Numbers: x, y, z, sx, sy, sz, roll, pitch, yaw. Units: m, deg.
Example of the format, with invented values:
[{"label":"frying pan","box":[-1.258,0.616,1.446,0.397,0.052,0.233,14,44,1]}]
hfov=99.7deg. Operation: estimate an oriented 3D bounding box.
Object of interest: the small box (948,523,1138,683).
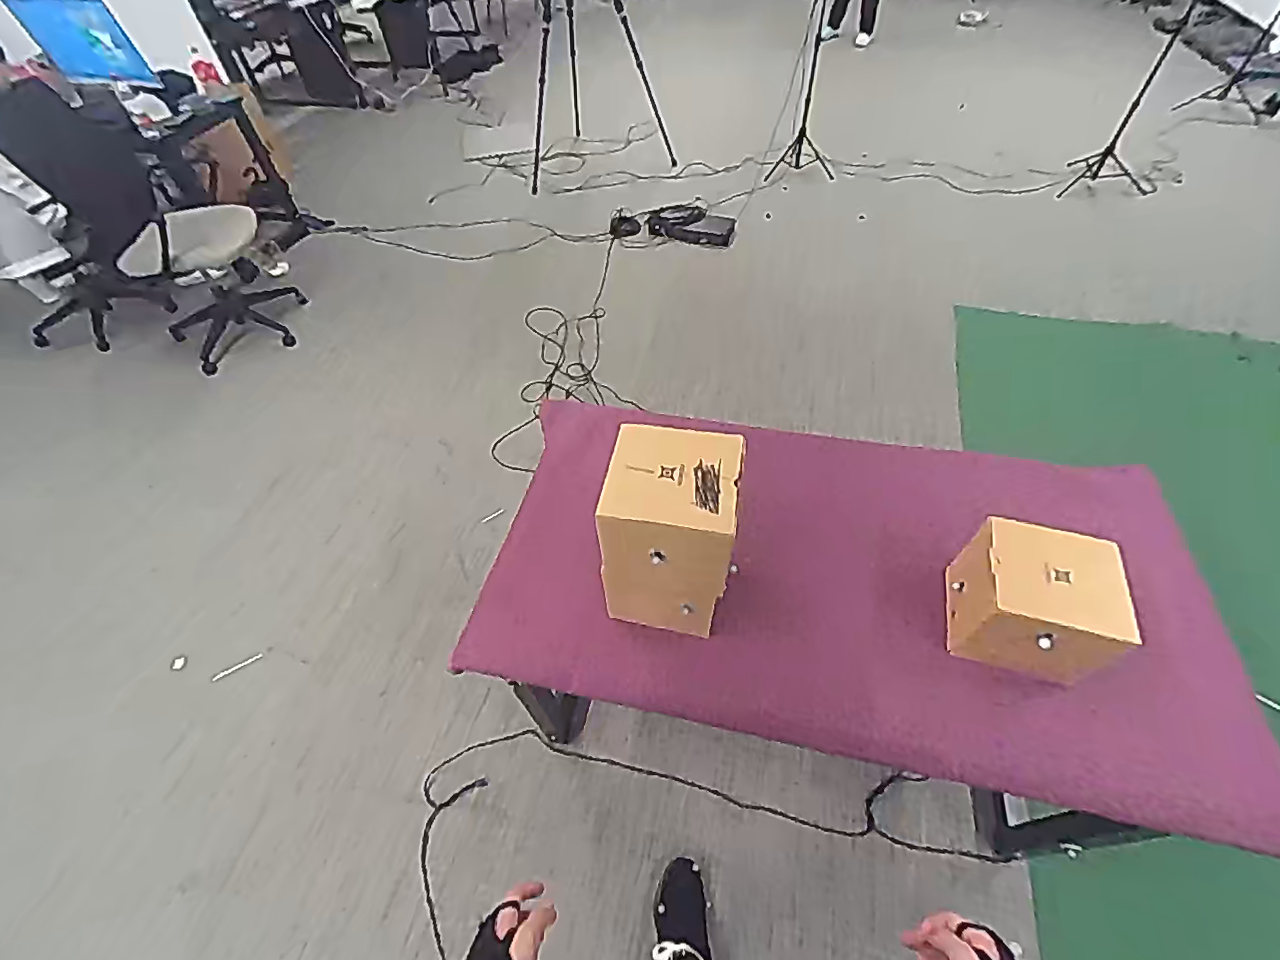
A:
[{"label":"small box","box":[0.606,0.195,0.839,0.179,0.176,0.168,13,53,14]}]

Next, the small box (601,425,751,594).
[{"label":"small box","box":[0.054,0.046,0.768,0.179,0.176,0.168,8,52,9]}]
